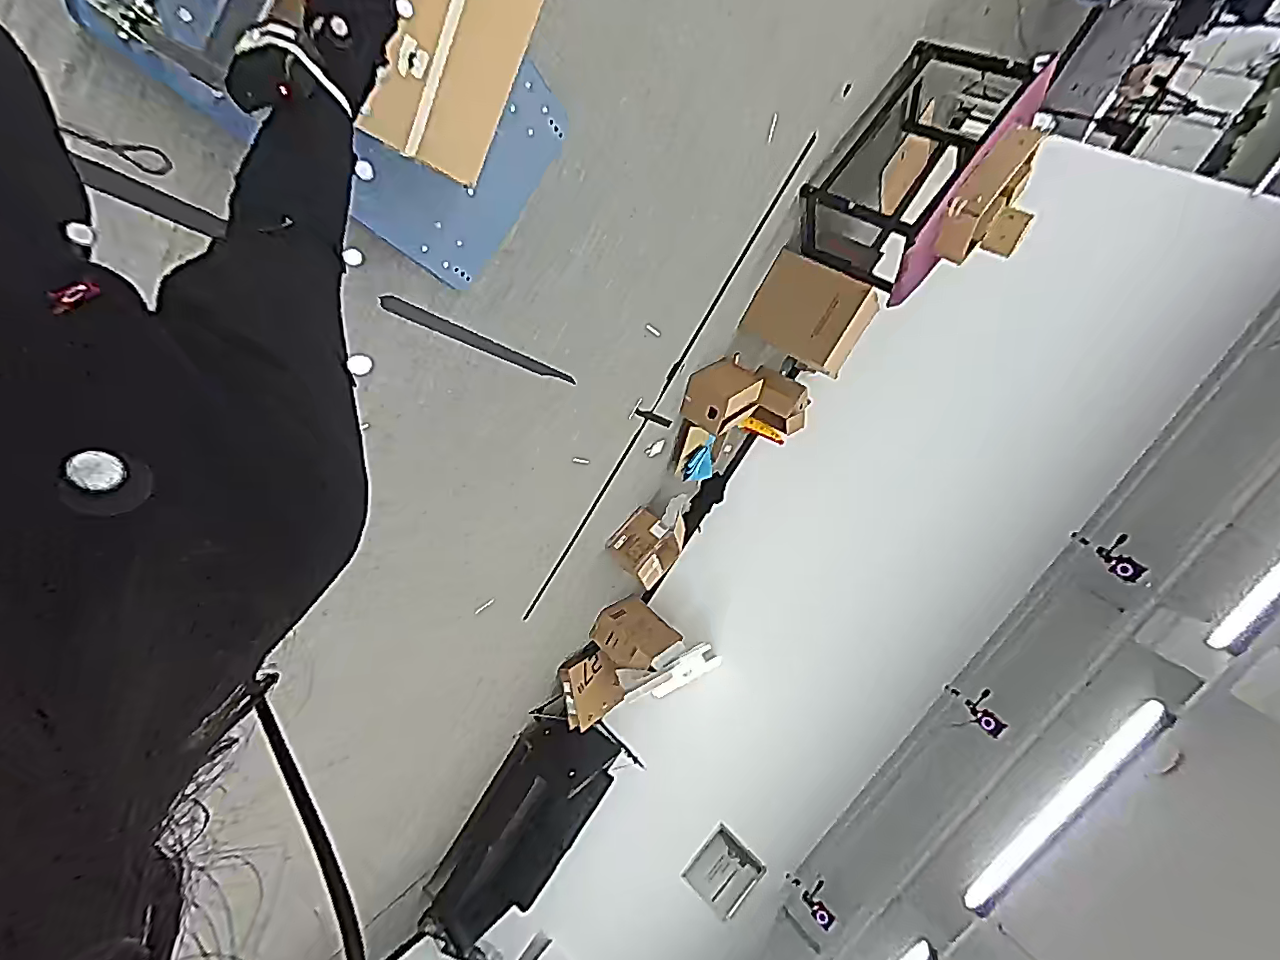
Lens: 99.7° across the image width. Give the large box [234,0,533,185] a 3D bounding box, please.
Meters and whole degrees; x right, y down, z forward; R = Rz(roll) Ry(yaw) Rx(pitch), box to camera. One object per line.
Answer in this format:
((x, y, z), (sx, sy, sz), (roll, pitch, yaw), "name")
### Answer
((-0.450, -0.842, 0.968), (0.320, 0.320, 0.408), (-3, 127, -60), "large box")
